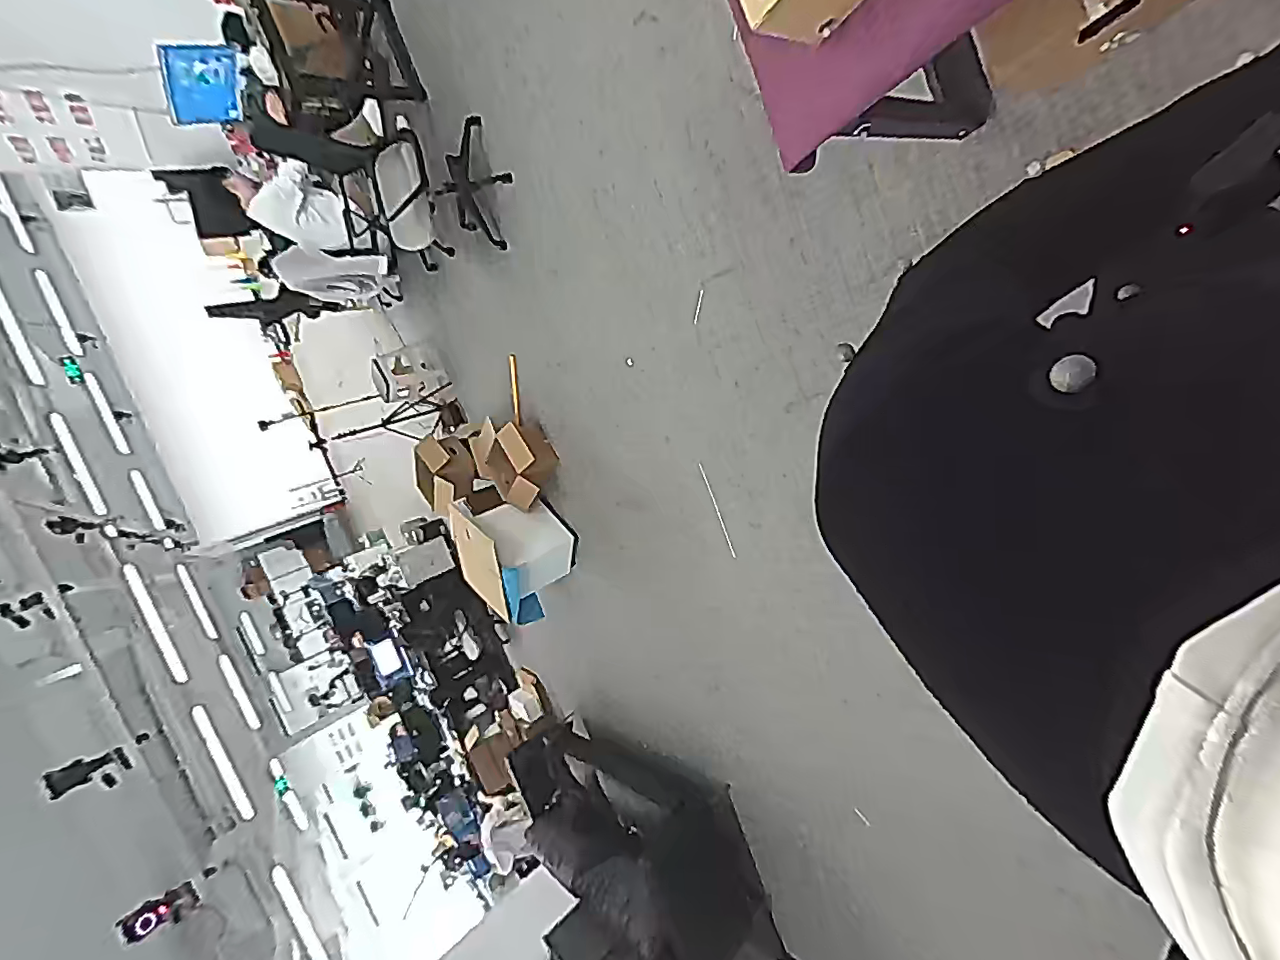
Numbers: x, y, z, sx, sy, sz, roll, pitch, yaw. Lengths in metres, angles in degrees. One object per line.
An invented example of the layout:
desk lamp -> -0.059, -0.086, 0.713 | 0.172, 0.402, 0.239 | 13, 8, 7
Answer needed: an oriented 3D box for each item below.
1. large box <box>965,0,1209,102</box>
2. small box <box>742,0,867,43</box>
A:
large box -> 0.808, -0.998, 0.985 | 0.320, 0.320, 0.408 | -17, 94, 54
small box -> 0.237, -0.736, 0.728 | 0.168, 0.176, 0.179 | -16, 95, 54
